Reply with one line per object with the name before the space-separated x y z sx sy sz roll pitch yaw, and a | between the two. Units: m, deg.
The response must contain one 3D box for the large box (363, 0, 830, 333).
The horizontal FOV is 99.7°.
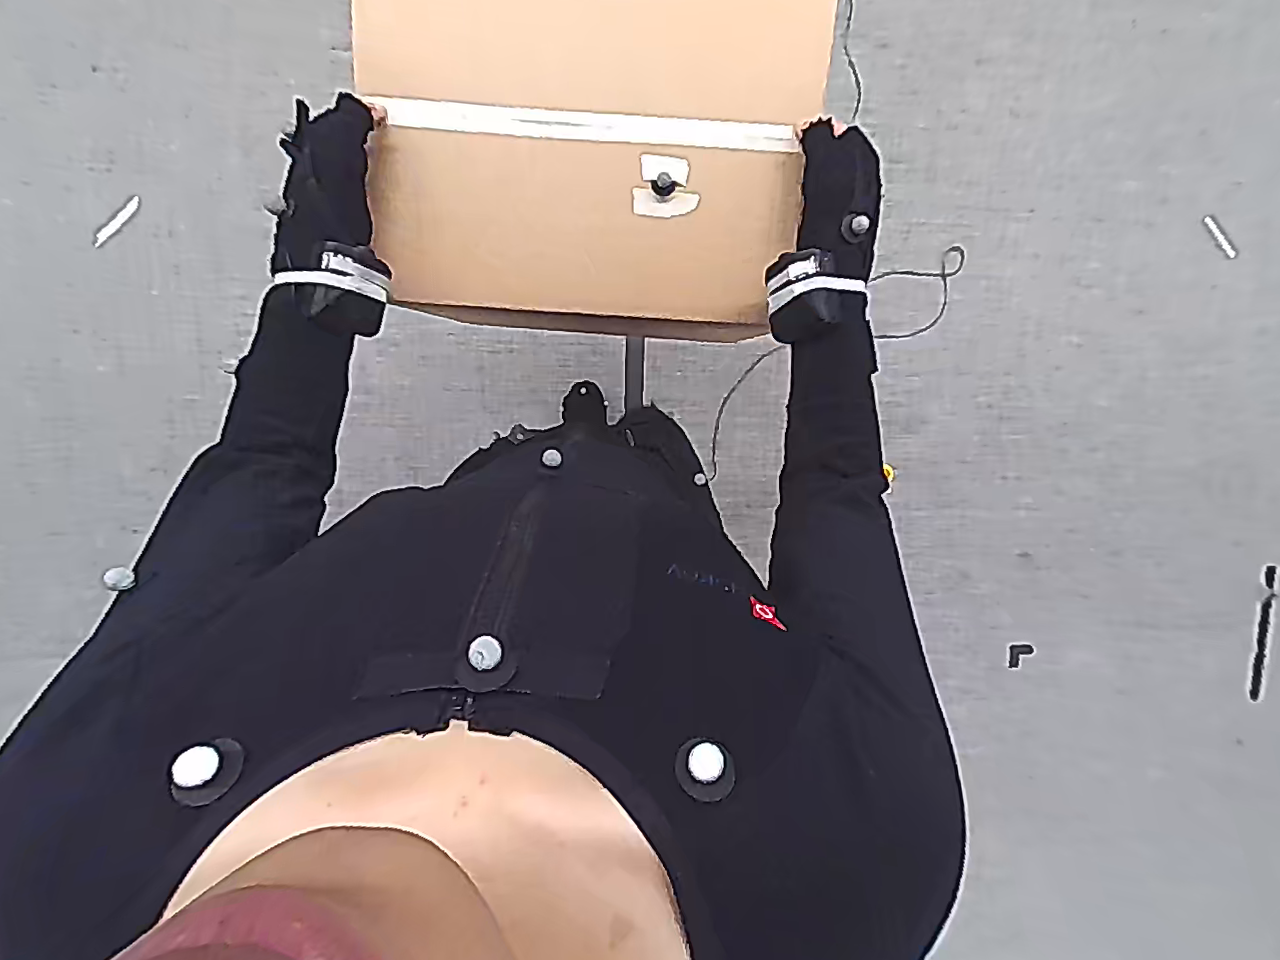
large box | -0.045 -0.347 0.623 0.408 0.320 0.320 3 102 -2
